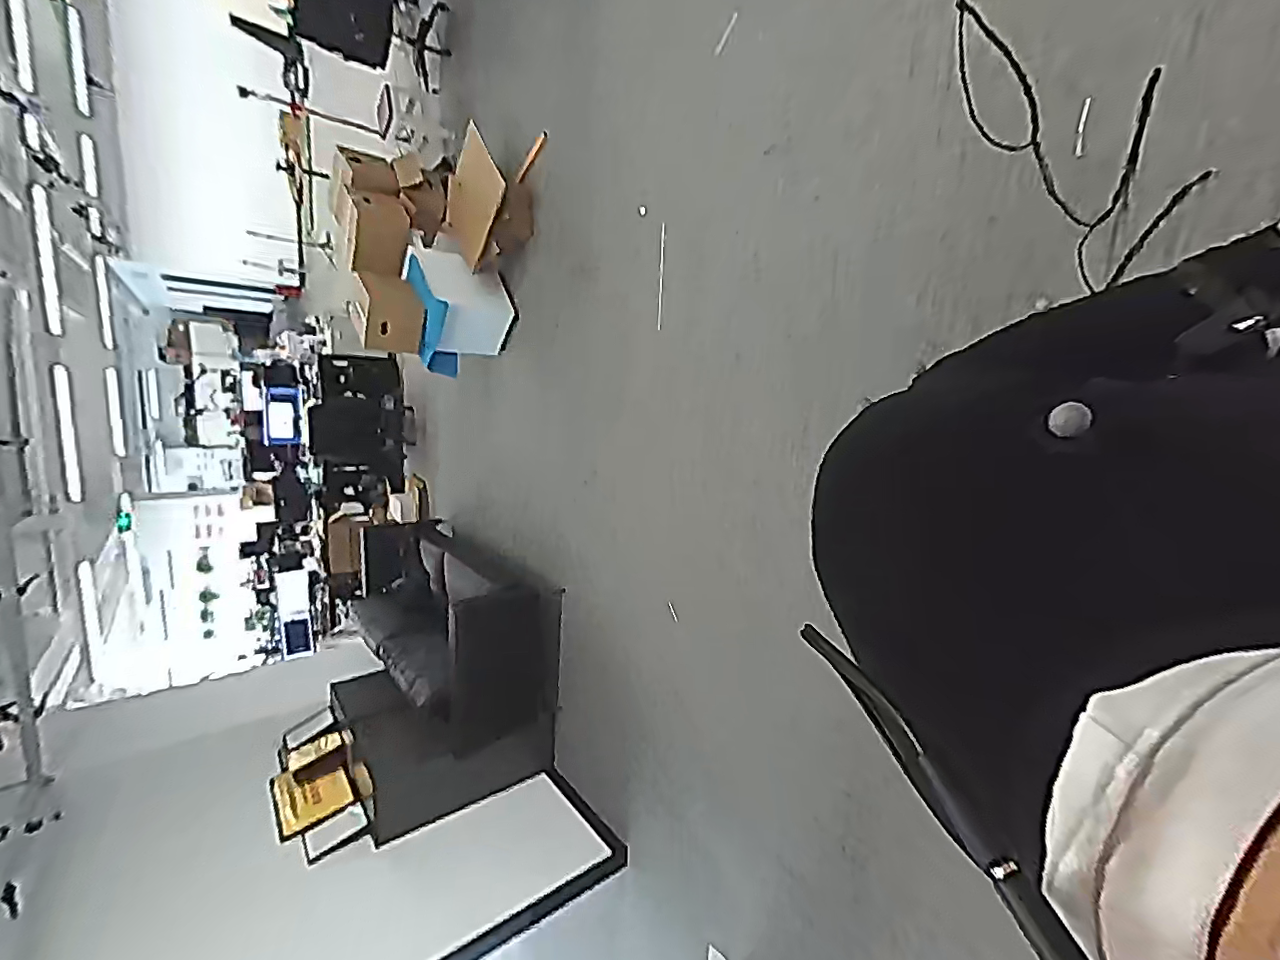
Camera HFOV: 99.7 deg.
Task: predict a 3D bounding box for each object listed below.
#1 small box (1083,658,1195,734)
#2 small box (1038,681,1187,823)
[{"bbox_3d":[1.066,0.515,1.175,0.168,0.176,0.179,18,108,50],"label":"small box"},{"bbox_3d":[0.937,0.522,1.074,0.179,0.176,0.168,16,107,51],"label":"small box"}]
